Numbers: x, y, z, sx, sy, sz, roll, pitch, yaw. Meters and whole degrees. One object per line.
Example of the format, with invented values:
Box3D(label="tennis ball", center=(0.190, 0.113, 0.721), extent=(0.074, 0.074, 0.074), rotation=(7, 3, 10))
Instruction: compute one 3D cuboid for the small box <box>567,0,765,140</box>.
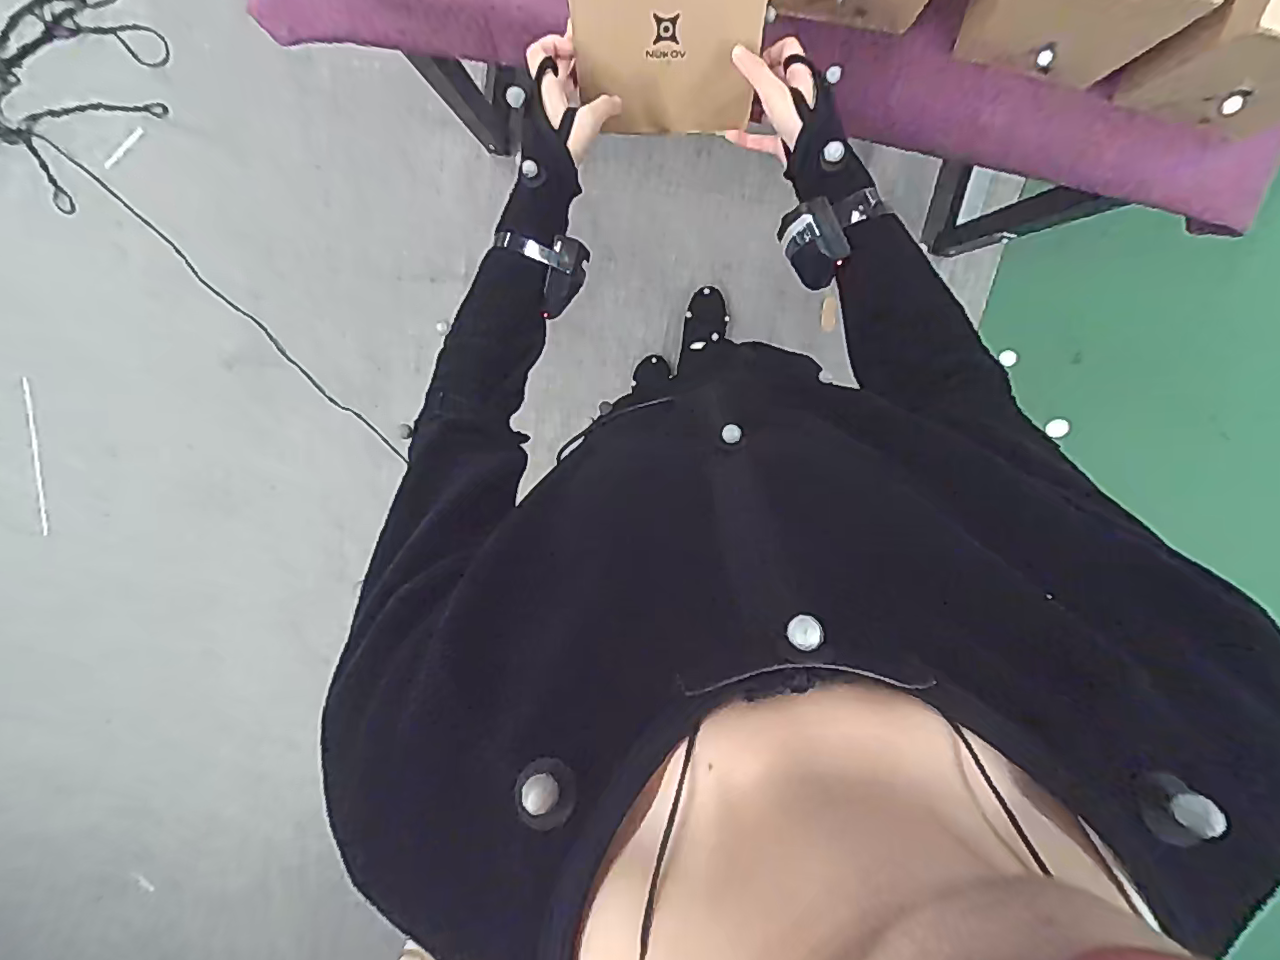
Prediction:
Box3D(label="small box", center=(0.027, -0.453, 0.499), extent=(0.168, 0.179, 0.176), rotation=(2, 65, 3))
